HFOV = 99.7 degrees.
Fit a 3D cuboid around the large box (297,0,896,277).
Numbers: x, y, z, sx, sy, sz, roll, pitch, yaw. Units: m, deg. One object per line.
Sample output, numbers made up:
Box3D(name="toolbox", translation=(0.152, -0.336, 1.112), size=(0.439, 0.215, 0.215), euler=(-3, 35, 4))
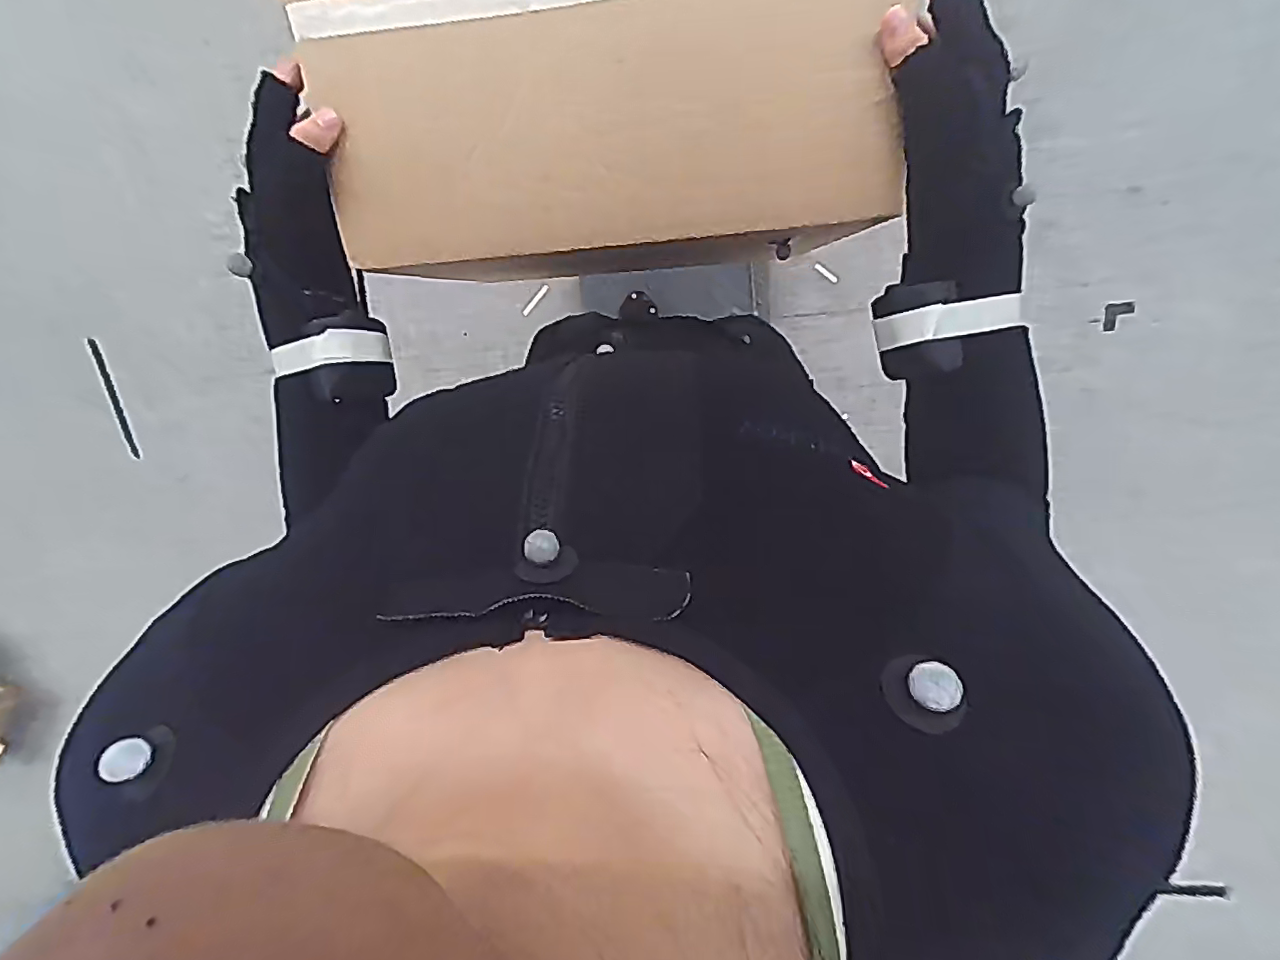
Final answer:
Box3D(name="large box", translation=(-0.025, -0.370, 0.496), size=(0.408, 0.320, 0.320), euler=(-3, 108, 4))
